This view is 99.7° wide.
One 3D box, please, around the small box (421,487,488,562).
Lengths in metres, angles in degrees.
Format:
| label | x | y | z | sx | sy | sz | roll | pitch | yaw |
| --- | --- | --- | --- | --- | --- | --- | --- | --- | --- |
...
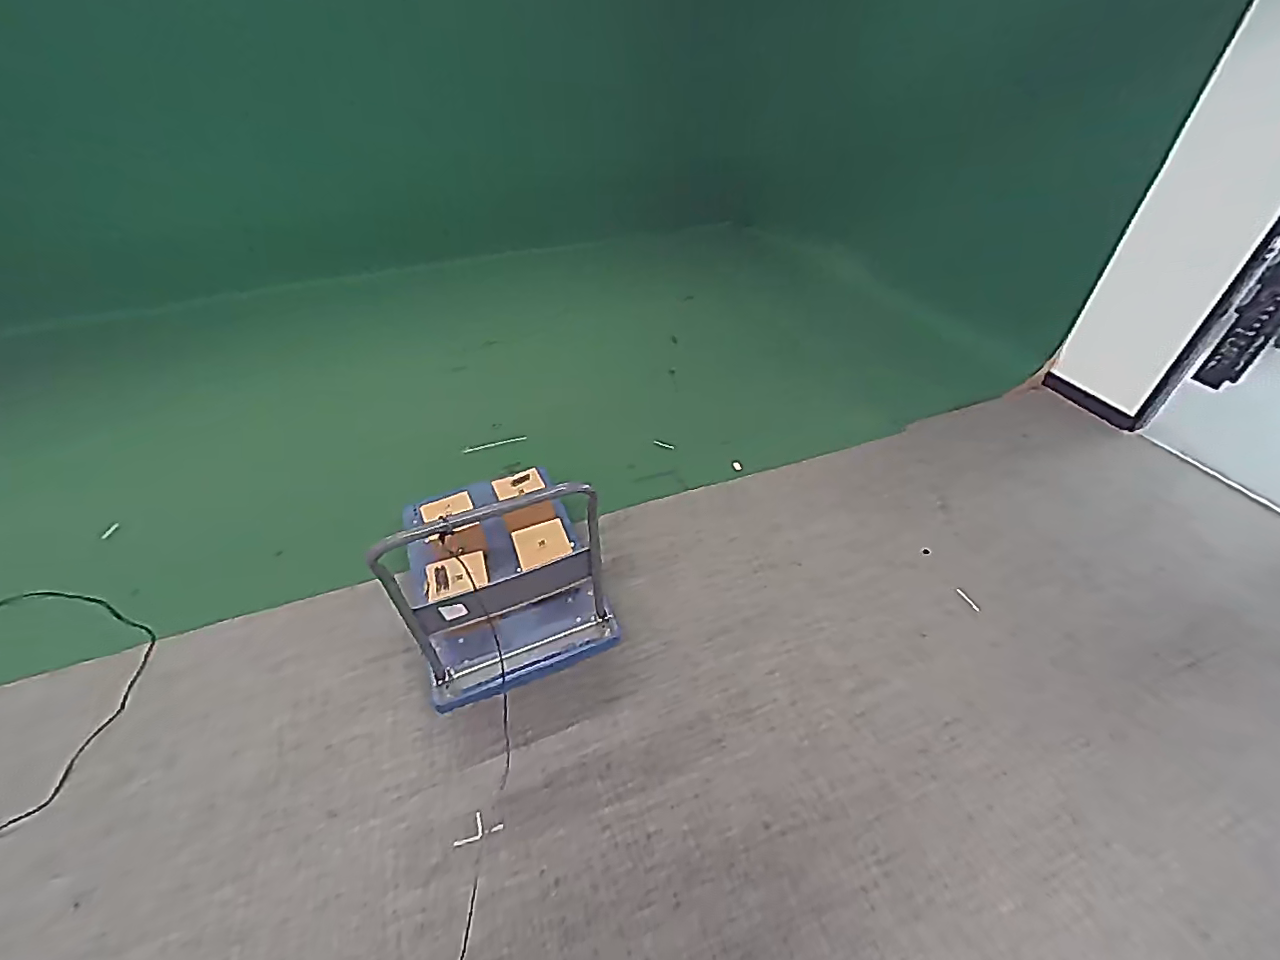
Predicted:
| label | x | y | z | sx | sy | sz | roll | pitch | yaw |
| --- | --- | --- | --- | --- | --- | --- | --- | --- | --- |
| small box | -0.640 | 0.162 | 1.873 | 0.168 | 0.176 | 0.179 | -19 | 46 | -19 |

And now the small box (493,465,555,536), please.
| label | x | y | z | sx | sy | sz | roll | pitch | yaw |
| --- | --- | --- | --- | --- | --- | --- | --- | --- | --- |
| small box | -0.416 | 0.079 | 1.954 | 0.168 | 0.176 | 0.179 | -21 | 48 | -18 |

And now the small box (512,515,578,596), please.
| label | x | y | z | sx | sy | sz | roll | pitch | yaw |
| --- | --- | --- | --- | --- | --- | --- | --- | --- | --- |
| small box | -0.310 | 0.249 | 1.772 | 0.168 | 0.176 | 0.179 | -16 | 46 | -15 |
